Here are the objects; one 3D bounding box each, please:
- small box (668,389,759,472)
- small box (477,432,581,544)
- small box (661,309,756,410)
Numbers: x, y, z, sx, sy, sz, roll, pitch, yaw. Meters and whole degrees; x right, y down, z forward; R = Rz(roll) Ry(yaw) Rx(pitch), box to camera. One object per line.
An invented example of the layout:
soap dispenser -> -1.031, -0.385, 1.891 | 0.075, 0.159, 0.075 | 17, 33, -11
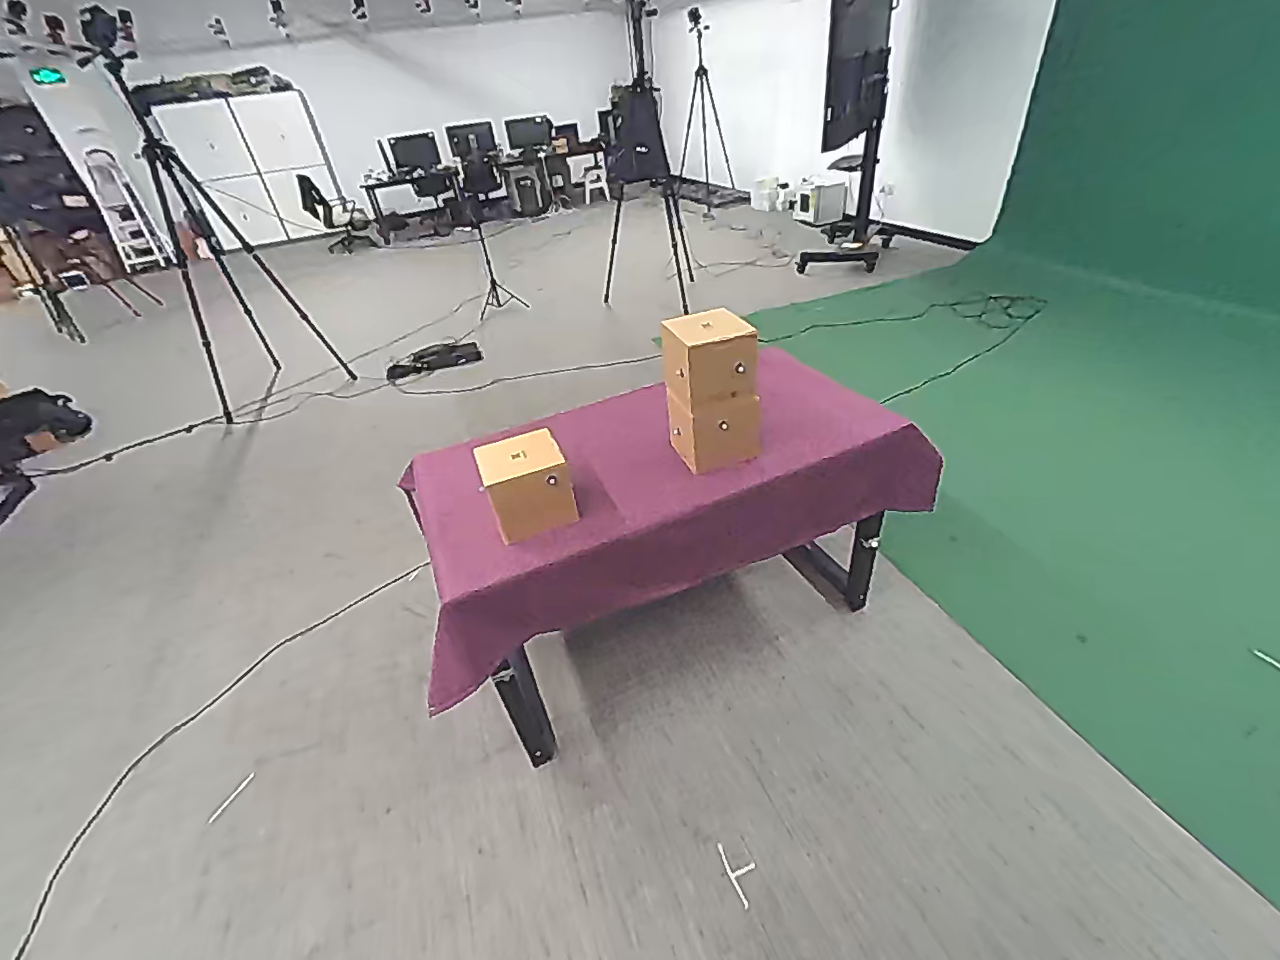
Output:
small box -> 0.184, -0.141, 1.347 | 0.179, 0.176, 0.168 | -17, 38, -10
small box -> -0.250, 0.019, 1.226 | 0.179, 0.176, 0.168 | -19, 37, -14
small box -> 0.161, -0.276, 1.257 | 0.168, 0.176, 0.179 | -16, 36, -10
